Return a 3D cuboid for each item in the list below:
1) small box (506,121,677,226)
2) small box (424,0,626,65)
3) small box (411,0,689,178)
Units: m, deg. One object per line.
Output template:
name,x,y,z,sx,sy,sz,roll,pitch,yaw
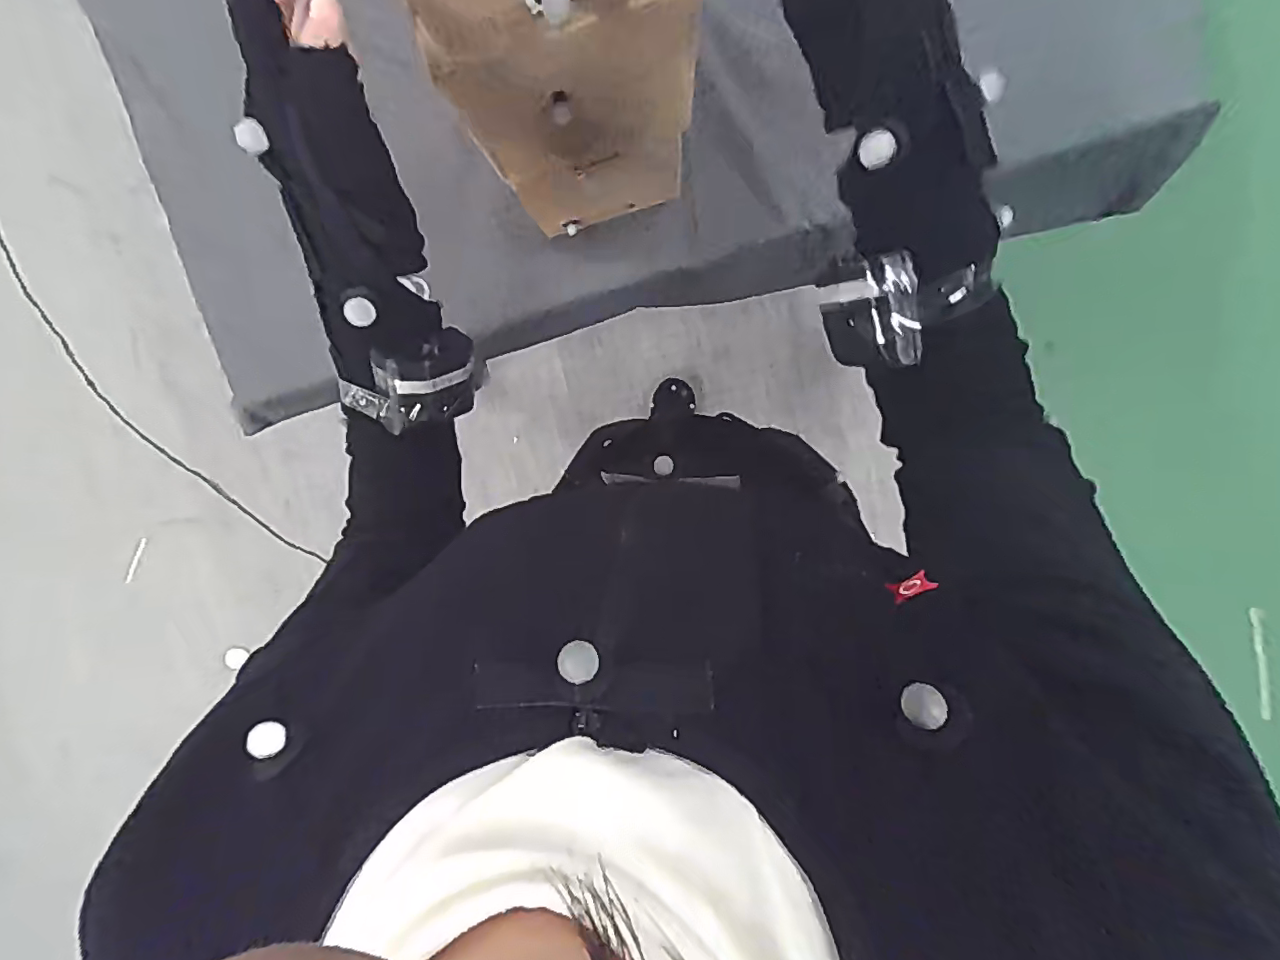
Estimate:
small box,-0.059,-0.388,0.563,0.168,0.176,0.179,-15,95,5
small box,-0.071,-0.348,0.239,0.168,0.176,0.179,-21,96,7
small box,-0.065,-0.363,0.404,0.179,0.176,0.168,-17,94,5
